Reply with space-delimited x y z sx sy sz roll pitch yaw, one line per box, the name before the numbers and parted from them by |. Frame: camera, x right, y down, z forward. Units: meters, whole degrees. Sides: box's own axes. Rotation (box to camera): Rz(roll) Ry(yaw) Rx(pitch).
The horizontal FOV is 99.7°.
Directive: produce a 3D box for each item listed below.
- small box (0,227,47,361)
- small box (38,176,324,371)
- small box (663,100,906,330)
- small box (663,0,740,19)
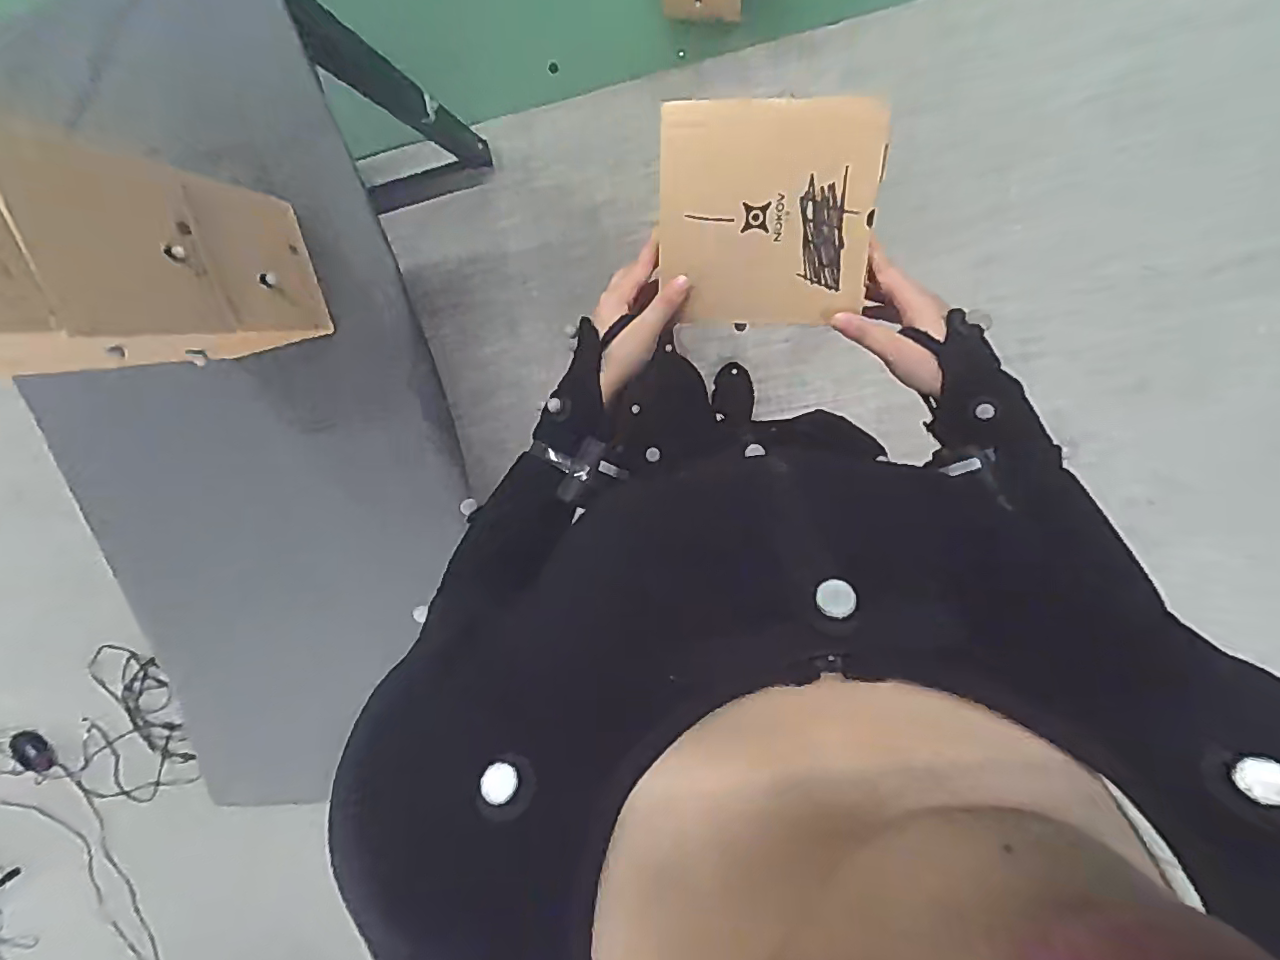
small box | -0.553 -0.139 0.332 0.179 0.176 0.168 -13 105 11
small box | -0.516 -0.235 0.644 0.179 0.176 0.168 -10 105 10
small box | 0.115 -0.238 0.506 0.179 0.176 0.168 3 113 5
small box | 0.132 -1.074 1.092 0.168 0.176 0.179 5 107 4
